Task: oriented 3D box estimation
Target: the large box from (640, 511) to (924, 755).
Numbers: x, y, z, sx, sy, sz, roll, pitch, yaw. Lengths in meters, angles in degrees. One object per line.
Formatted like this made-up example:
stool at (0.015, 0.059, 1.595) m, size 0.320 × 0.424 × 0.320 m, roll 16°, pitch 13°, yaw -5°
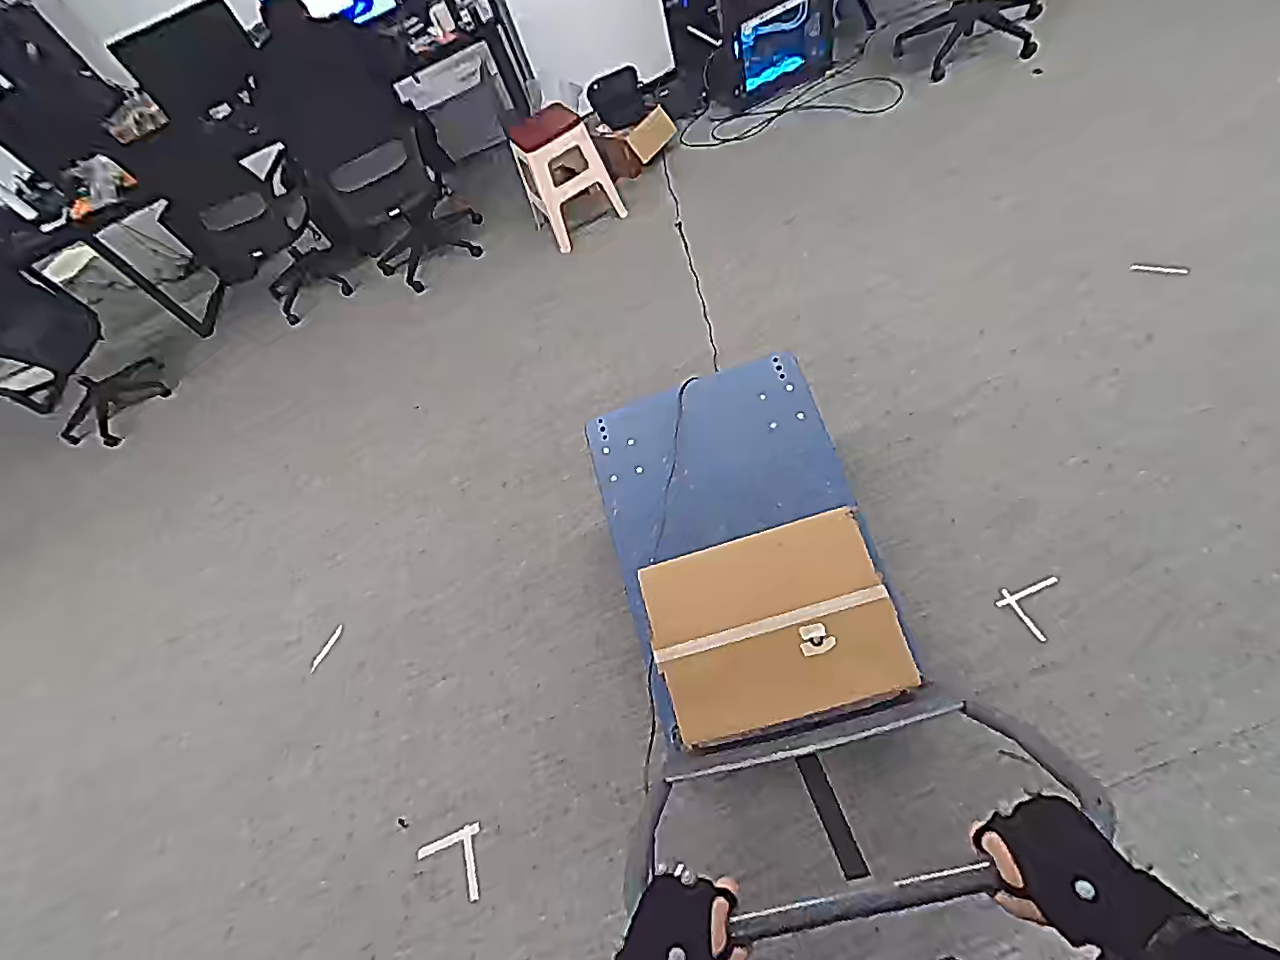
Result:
large box at (0.251, 0.295, 1.059) m, size 0.408 × 0.320 × 0.320 m, roll -18°, pitch 73°, yaw 6°
